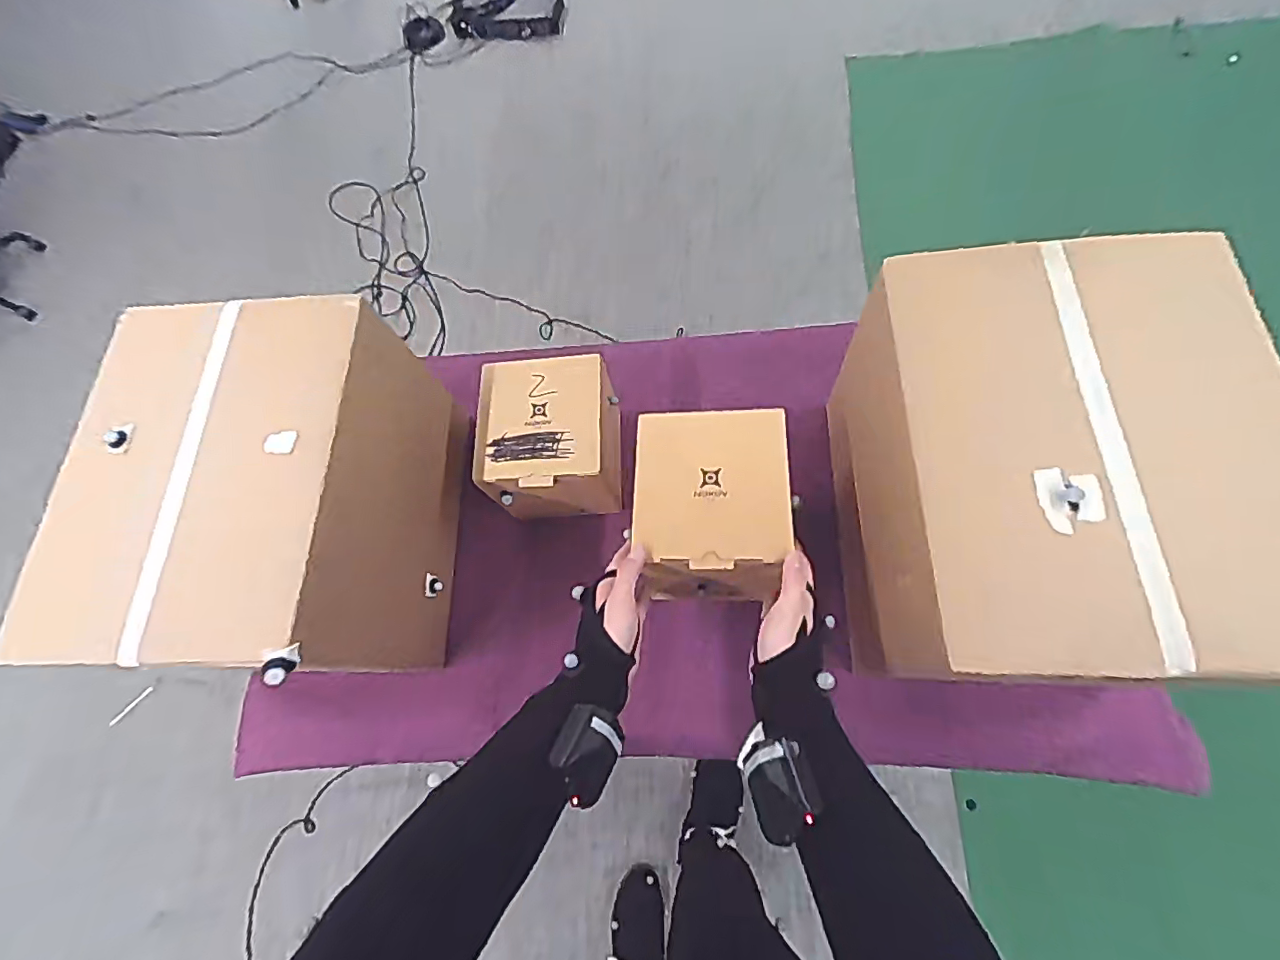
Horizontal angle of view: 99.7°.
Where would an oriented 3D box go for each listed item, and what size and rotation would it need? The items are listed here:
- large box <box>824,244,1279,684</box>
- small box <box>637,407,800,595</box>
[{"bbox_3d":[0.415,0.012,0.607,0.320,0.320,0.408,-2,70,7],"label":"large box"},{"bbox_3d":[0.090,0.032,0.644,0.168,0.176,0.179,-2,66,8],"label":"small box"}]
